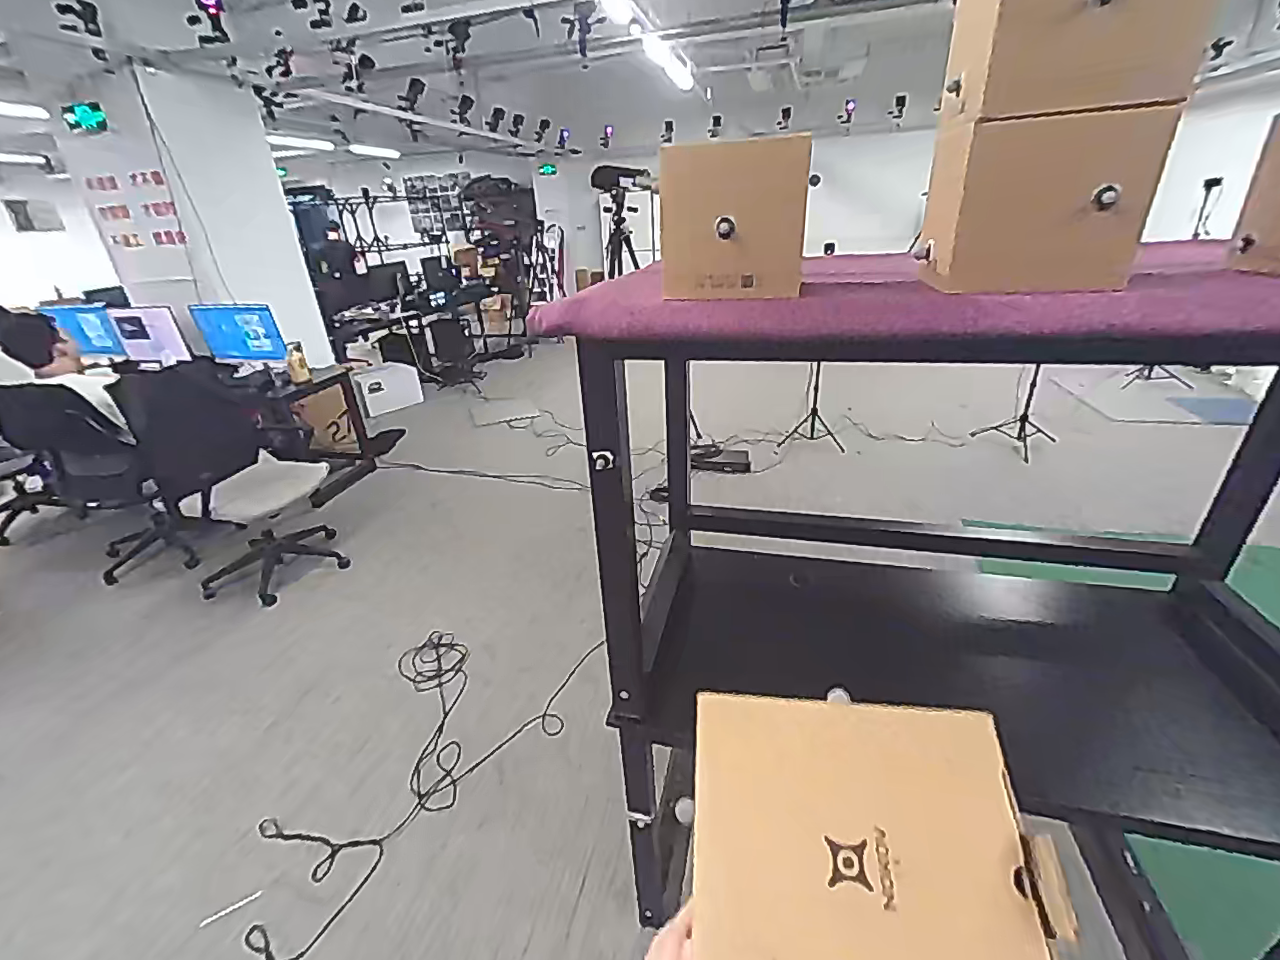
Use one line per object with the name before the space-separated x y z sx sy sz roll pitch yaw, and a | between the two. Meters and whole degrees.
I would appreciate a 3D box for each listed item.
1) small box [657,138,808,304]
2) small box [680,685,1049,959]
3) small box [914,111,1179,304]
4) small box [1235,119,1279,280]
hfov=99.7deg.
small box | 0.121 -0.323 0.687 0.168 0.176 0.179 5 28 13
small box | 0.121 0.244 0.353 0.179 0.176 0.168 1 56 8
small box | 0.435 -0.302 0.617 0.179 0.176 0.168 2 26 14
small box | 0.777 -0.293 0.550 0.179 0.176 0.168 4 25 16
